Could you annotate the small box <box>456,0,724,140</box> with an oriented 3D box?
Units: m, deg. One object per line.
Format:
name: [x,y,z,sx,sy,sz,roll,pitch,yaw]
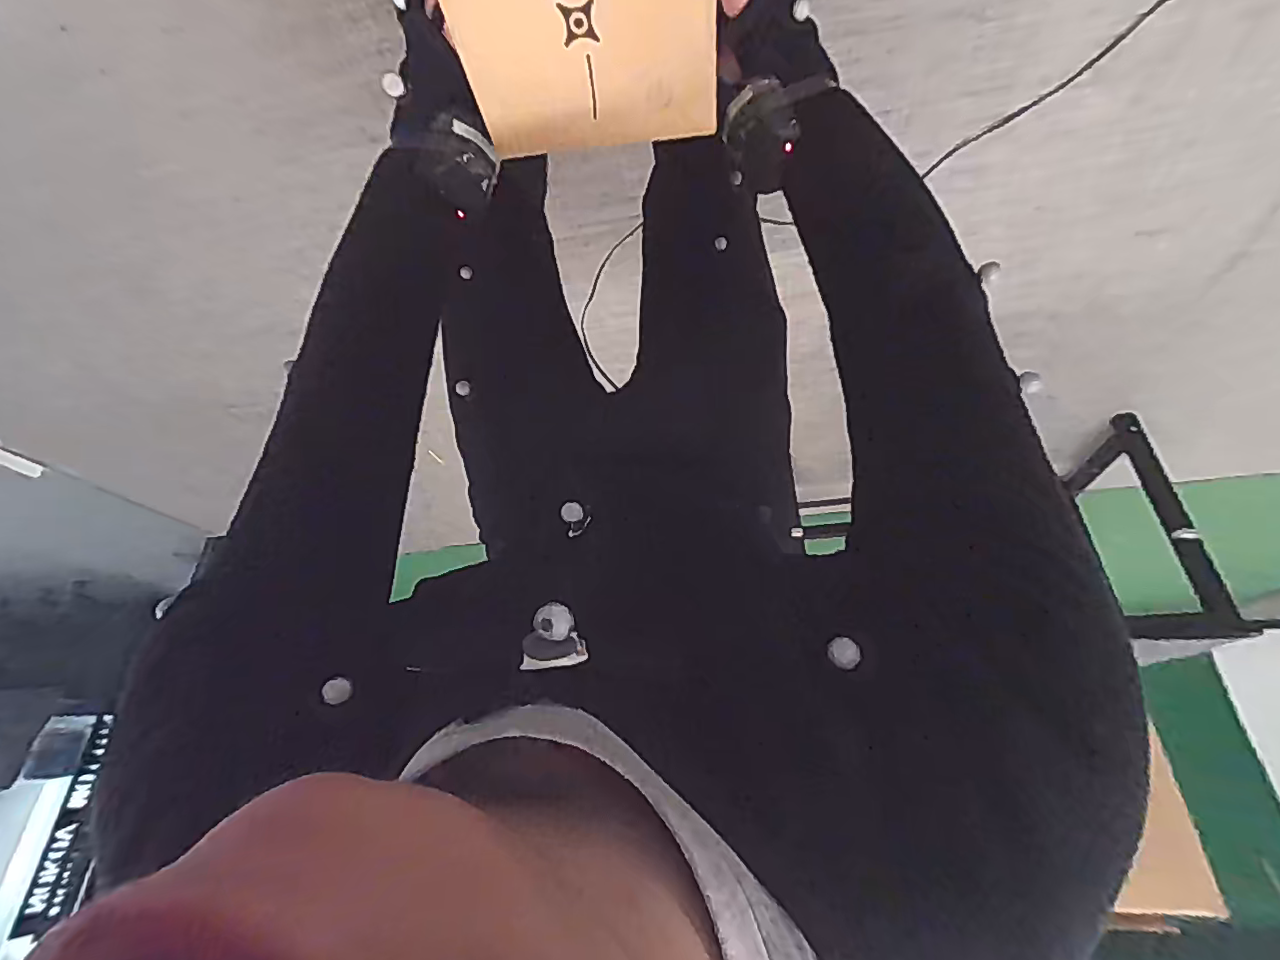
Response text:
small box: [-0.031,-0.370,0.356,0.168,0.176,0.179,-2,155,8]
